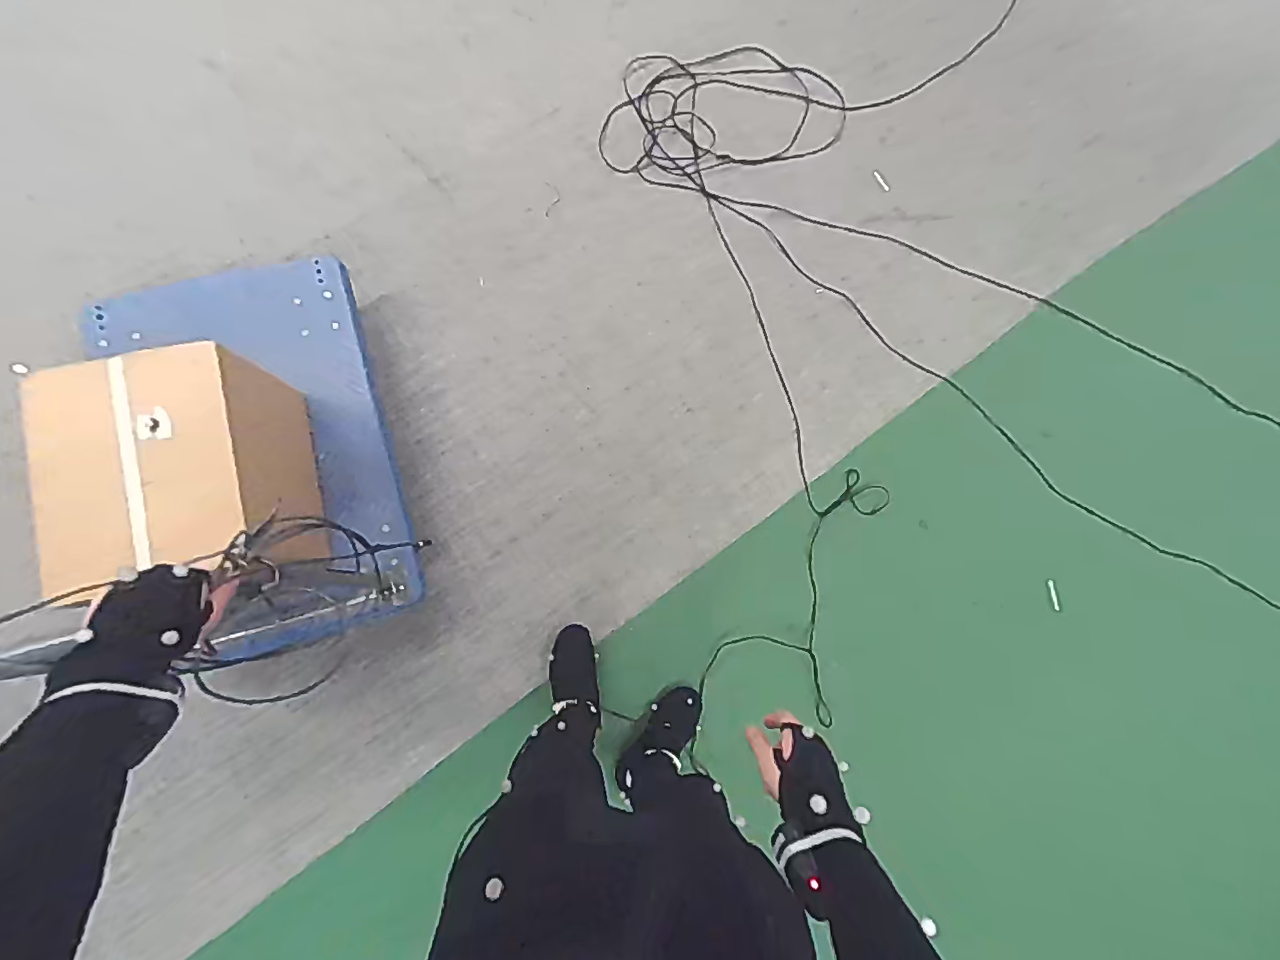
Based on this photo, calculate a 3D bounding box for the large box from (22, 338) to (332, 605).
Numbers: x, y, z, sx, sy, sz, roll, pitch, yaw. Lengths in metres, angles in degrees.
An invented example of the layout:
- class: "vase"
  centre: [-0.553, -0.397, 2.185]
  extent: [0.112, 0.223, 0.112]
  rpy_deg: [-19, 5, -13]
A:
- class: "large box"
  centre: [-0.853, -0.002, 1.046]
  extent: [0.320, 0.320, 0.408]
  rpy_deg: [-13, 83, -9]
